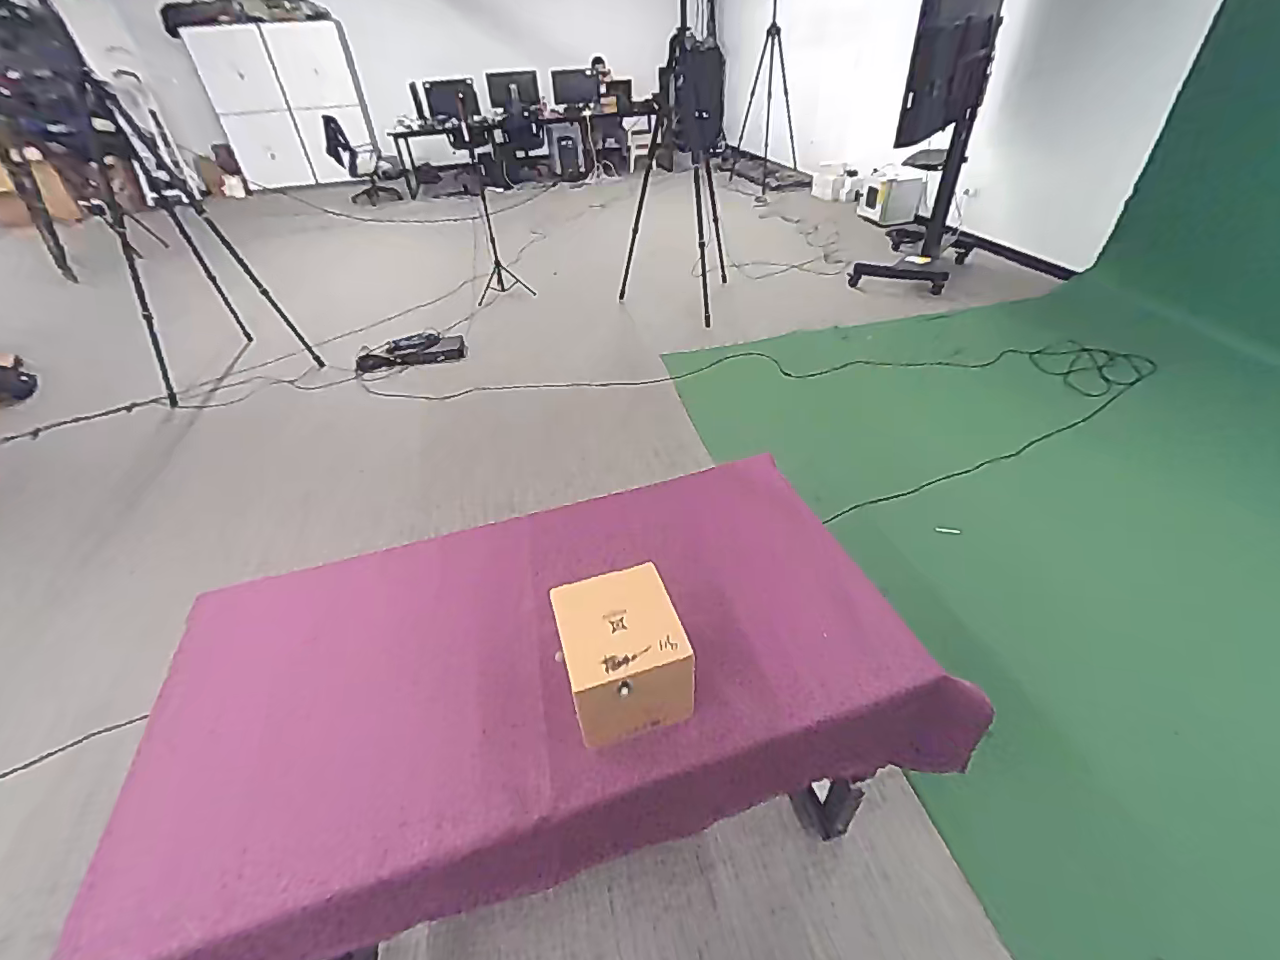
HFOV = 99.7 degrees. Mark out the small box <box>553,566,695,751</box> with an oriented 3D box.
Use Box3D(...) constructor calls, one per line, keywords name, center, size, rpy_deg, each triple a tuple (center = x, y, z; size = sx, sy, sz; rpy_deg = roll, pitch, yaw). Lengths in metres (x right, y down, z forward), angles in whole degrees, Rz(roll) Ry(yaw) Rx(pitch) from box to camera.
Box3D(name="small box", center=(-0.025, 0.264, 0.807), size=(0.168, 0.176, 0.179), rpy_deg=(-14, 40, -10))
